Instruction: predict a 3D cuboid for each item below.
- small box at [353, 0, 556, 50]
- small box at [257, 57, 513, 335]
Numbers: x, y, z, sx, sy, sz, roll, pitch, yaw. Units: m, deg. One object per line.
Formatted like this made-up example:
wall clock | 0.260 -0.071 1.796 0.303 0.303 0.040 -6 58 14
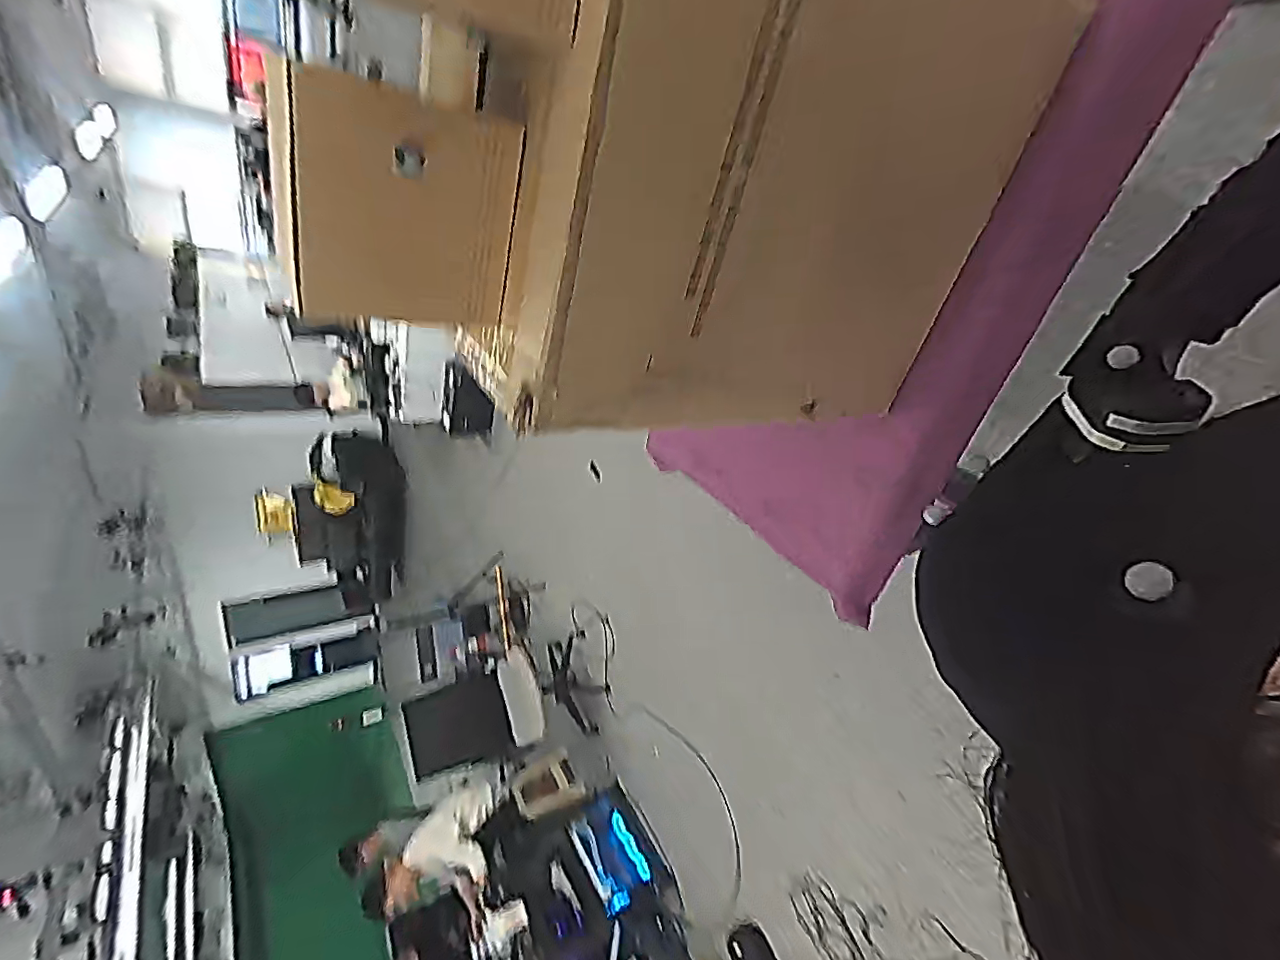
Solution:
small box | -0.145 -0.402 0.343 0.179 0.176 0.168 46 132 40
small box | -0.226 -0.242 0.483 0.168 0.176 0.179 44 130 42
